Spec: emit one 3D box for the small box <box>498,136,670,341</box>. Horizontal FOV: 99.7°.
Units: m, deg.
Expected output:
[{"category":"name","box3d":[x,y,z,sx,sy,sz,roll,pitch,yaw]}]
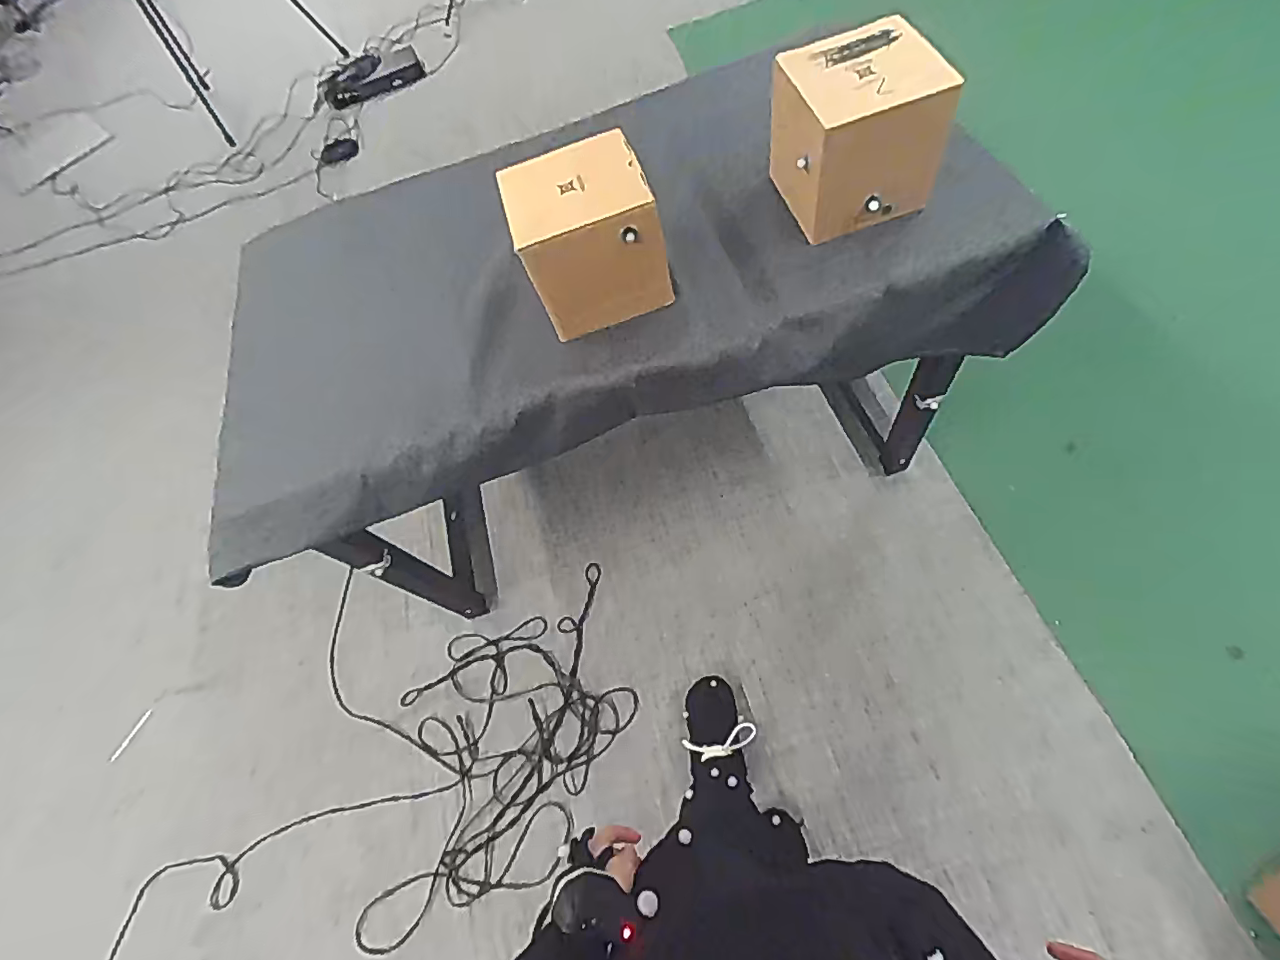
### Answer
[{"category":"small box","box3d":[-0.071,-0.319,0.740,0.179,0.176,0.168,-19,60,1]}]
